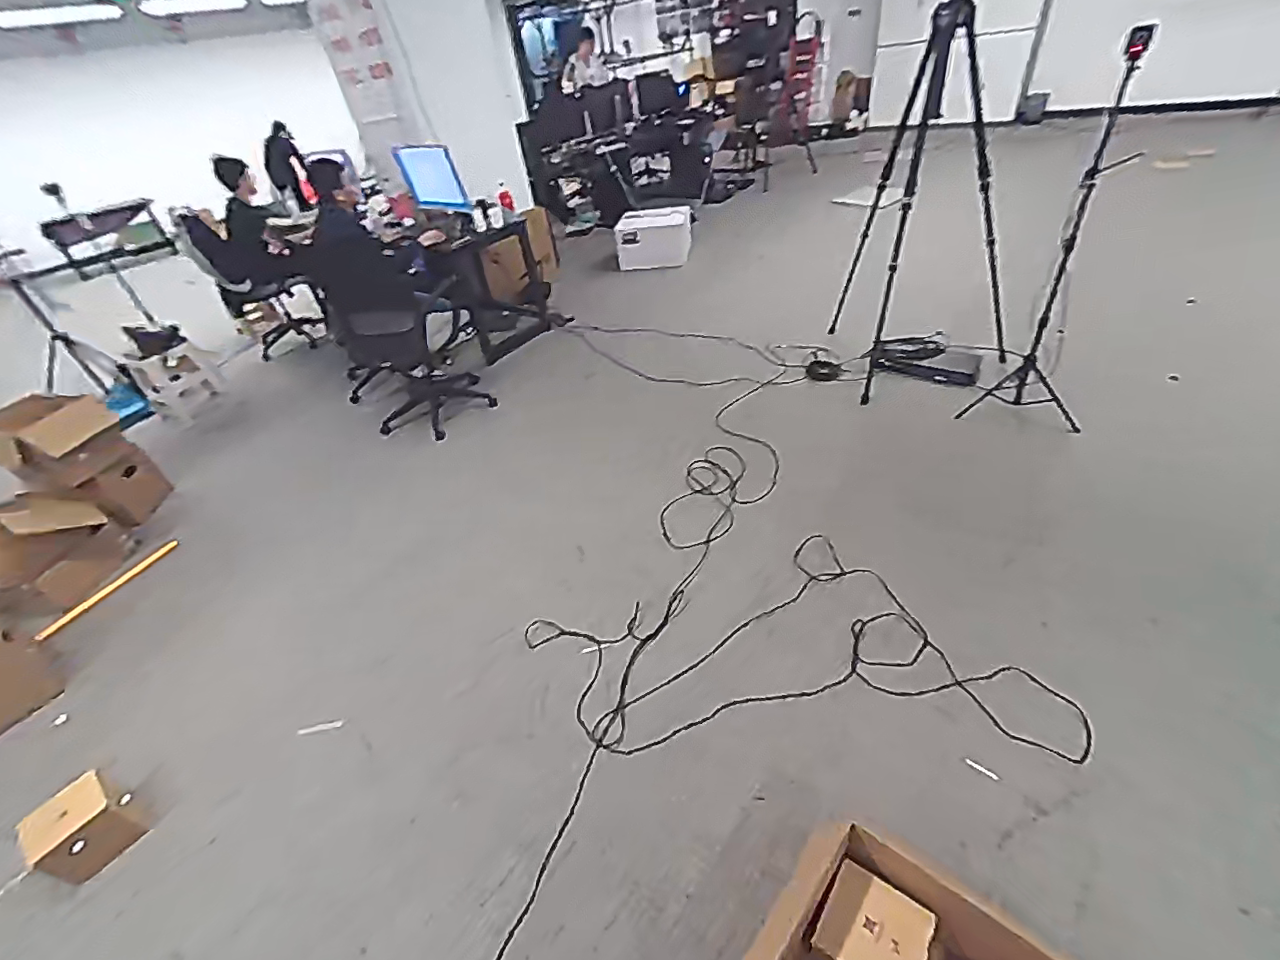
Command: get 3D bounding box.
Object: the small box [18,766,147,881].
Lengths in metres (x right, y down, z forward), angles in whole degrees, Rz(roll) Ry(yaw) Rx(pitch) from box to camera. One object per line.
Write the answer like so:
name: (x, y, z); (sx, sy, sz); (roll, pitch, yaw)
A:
small box: (-1.492, 0.928, 1.461); (0.168, 0.176, 0.179); (22, 50, 32)
